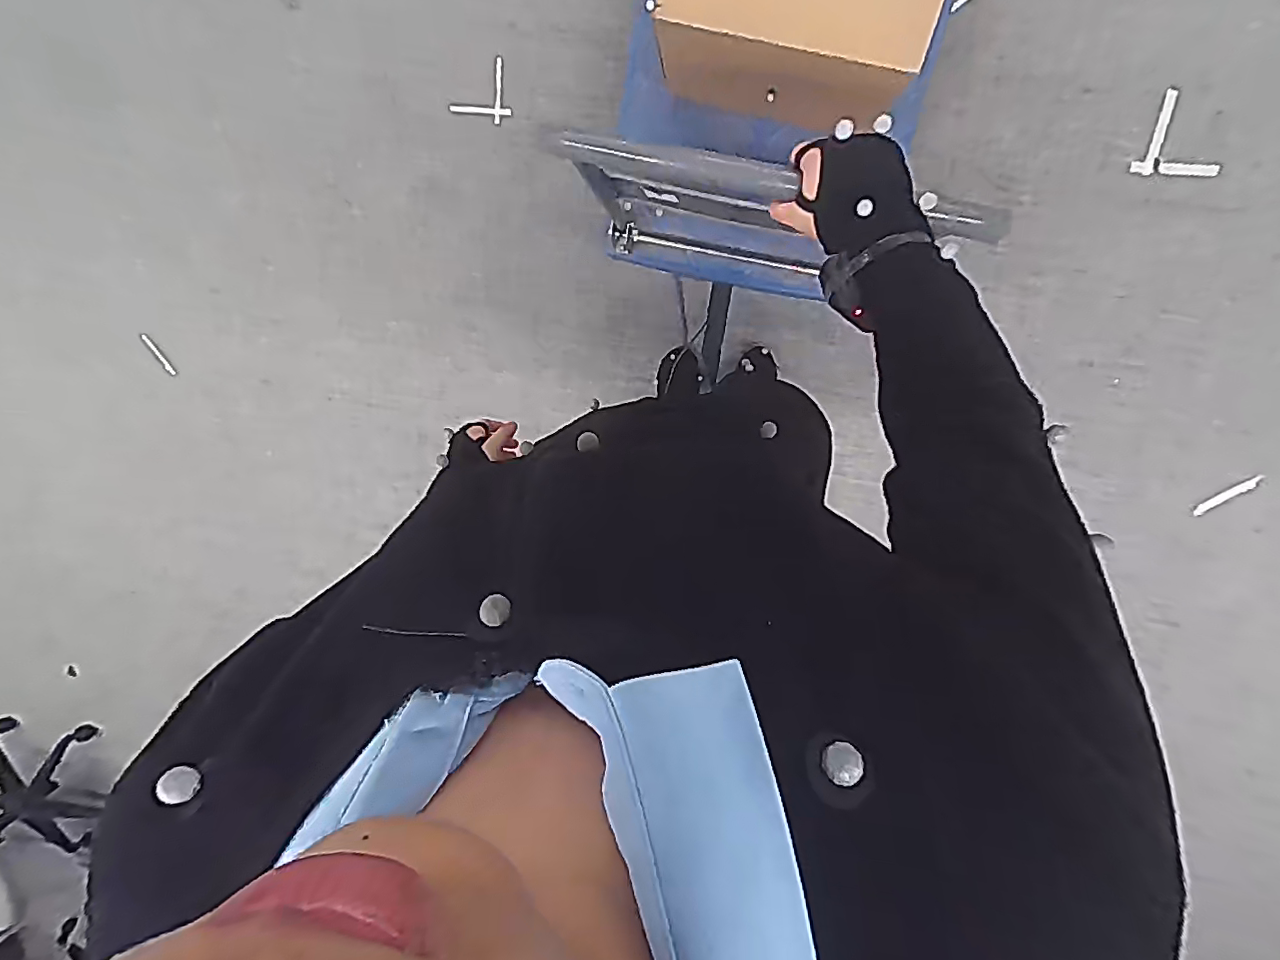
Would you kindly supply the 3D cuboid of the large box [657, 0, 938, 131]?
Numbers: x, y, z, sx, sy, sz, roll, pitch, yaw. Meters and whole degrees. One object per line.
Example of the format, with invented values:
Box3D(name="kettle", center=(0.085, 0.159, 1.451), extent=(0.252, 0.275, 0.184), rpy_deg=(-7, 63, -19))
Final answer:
Box3D(name="large box", center=(0.269, -0.835, 0.906), extent=(0.408, 0.320, 0.320), rpy_deg=(15, 107, 4))
